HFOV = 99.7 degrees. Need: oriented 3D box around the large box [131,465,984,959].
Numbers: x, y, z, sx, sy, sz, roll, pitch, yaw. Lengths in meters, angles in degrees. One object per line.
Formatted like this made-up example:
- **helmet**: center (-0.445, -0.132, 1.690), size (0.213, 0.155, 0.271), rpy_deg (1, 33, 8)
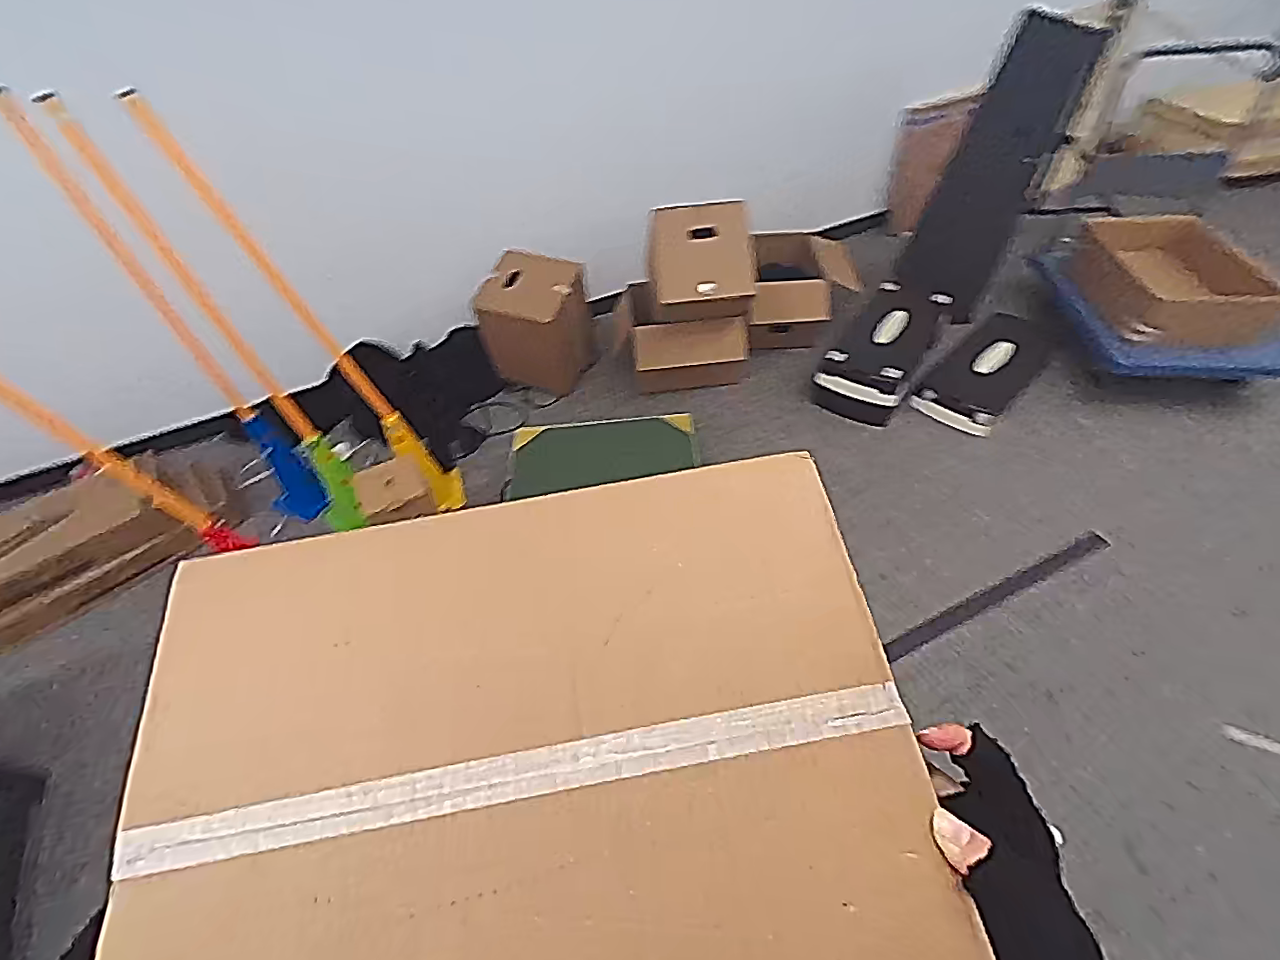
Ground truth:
- **large box**: center (-0.049, 0.224, 0.419), size (0.408, 0.320, 0.320), rpy_deg (-9, 64, 0)
